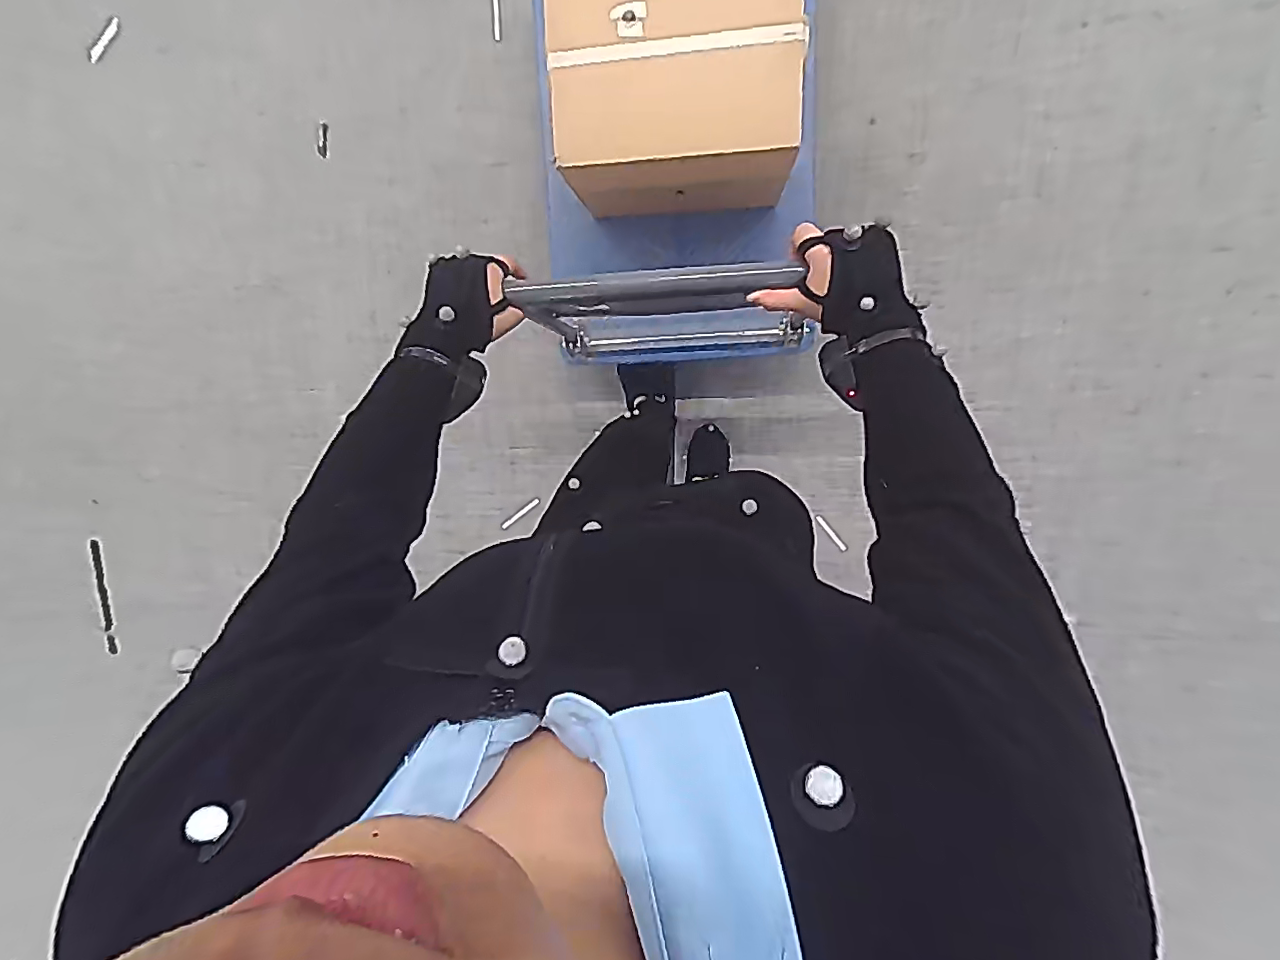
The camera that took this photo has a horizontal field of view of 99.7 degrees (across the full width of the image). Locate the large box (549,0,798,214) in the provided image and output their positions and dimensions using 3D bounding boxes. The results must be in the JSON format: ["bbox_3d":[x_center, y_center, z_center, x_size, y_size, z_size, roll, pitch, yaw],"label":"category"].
[{"bbox_3d":[0.073,-0.719,1.020,0.408,0.320,0.320,-1,100,8],"label":"large box"}]
